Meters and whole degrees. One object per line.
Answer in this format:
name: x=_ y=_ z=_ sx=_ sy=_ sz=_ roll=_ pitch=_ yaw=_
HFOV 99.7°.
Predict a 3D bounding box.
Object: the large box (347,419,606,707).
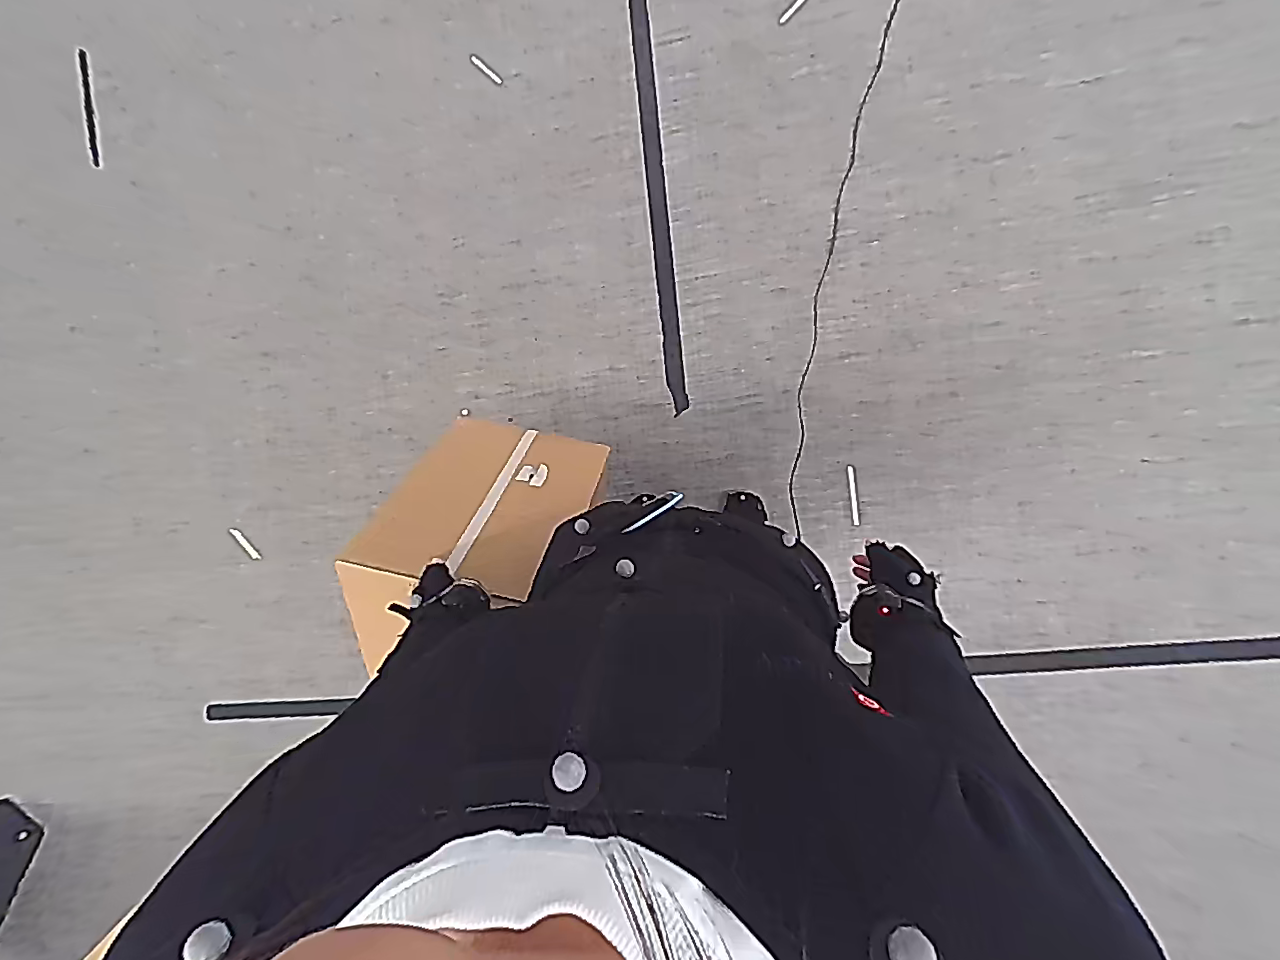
large box: x=-0.265 y=0.141 z=1.013 sx=0.320 sy=0.408 sz=0.320 roll=13 pitch=128 yaw=3
